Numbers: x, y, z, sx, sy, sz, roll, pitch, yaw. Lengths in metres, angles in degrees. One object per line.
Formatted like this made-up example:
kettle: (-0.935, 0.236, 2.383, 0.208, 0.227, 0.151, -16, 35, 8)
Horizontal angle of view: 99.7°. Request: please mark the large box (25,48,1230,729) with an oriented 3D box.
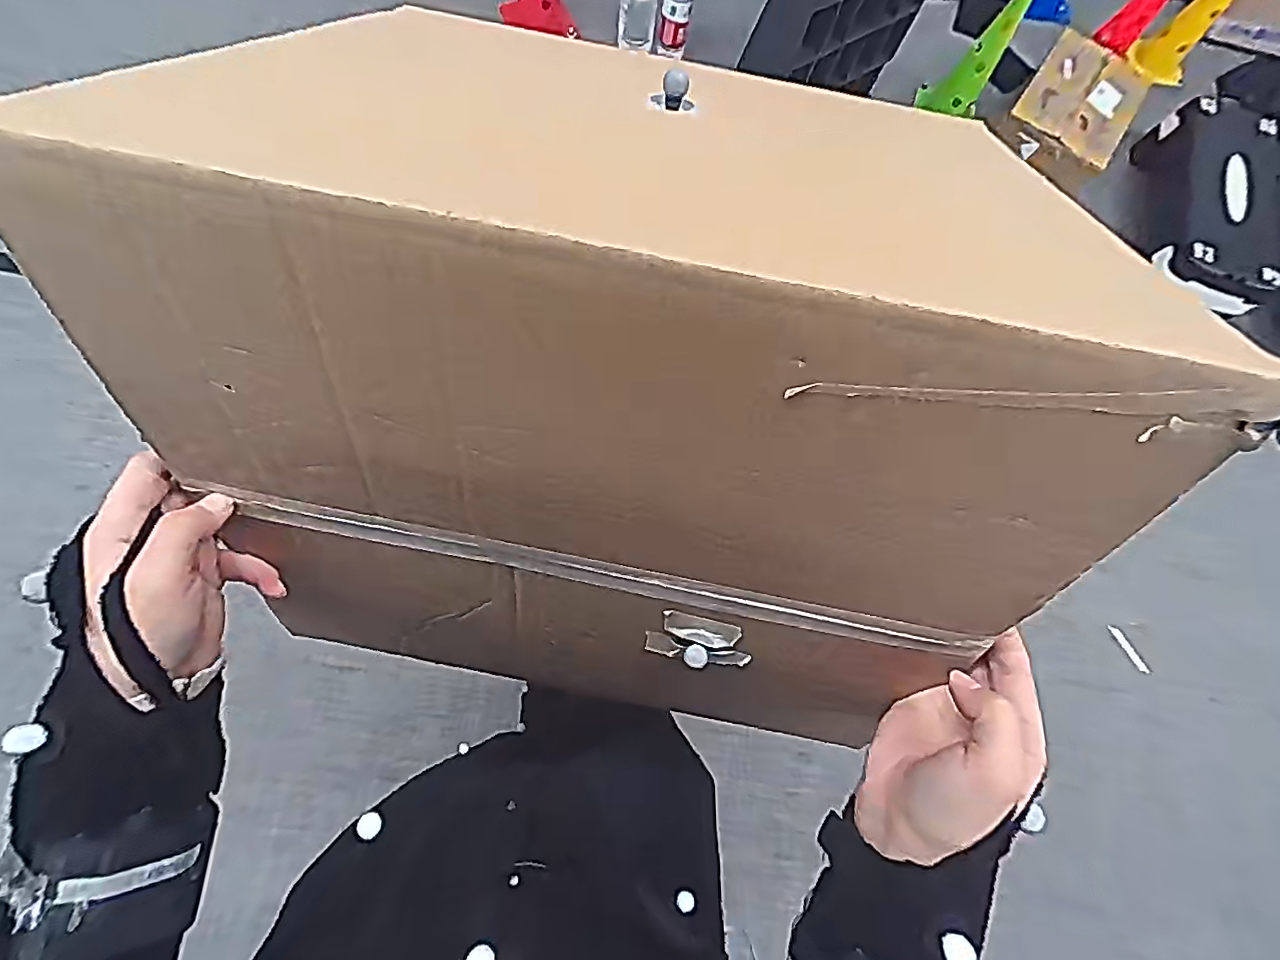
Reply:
large box: (-0.008, -0.067, 0.382, 0.408, 0.320, 0.320, 11, 47, 0)
